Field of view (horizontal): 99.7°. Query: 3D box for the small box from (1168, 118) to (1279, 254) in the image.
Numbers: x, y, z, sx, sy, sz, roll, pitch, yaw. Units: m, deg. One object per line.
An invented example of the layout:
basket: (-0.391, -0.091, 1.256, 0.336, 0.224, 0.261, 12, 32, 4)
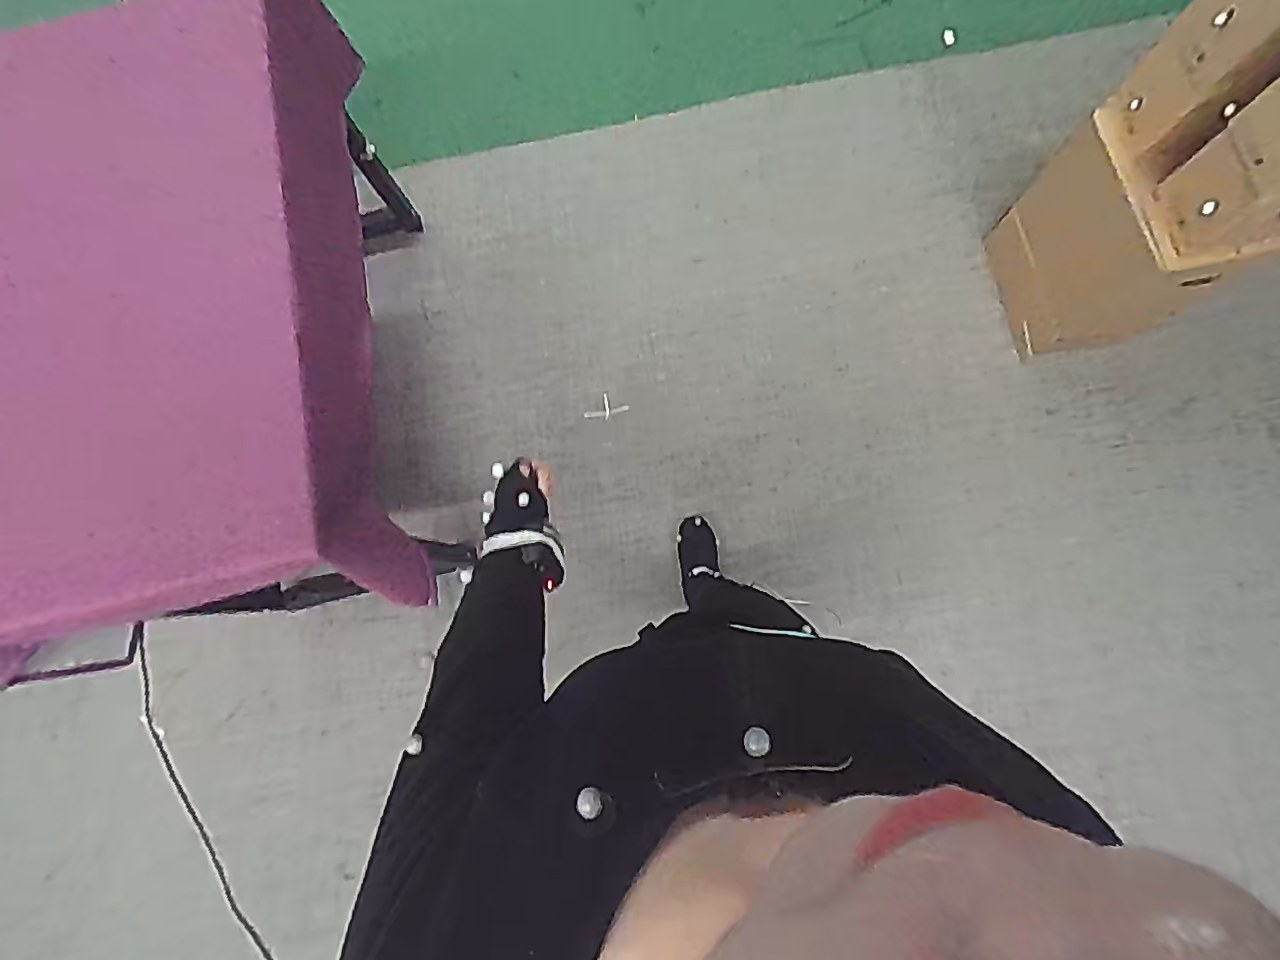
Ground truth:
small box: (1.176, -0.557, 1.034, 0.179, 0.176, 0.168, -7, 77, 2)

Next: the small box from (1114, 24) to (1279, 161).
small box: (1.125, -0.783, 1.086, 0.179, 0.176, 0.168, -10, 79, 4)

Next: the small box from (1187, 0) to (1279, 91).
small box: (1.106, -0.813, 0.926, 0.179, 0.176, 0.168, -9, 79, 4)
